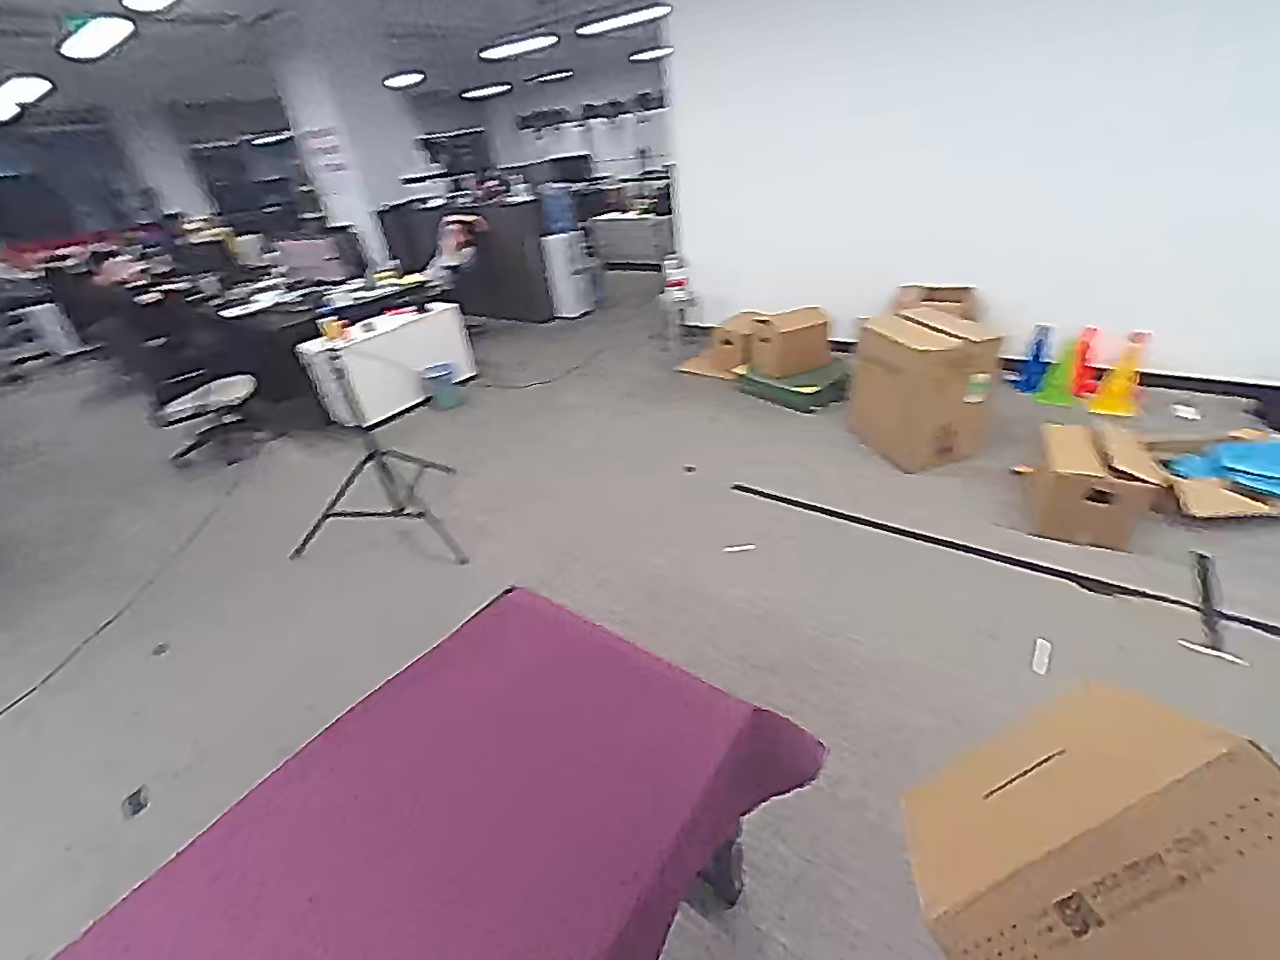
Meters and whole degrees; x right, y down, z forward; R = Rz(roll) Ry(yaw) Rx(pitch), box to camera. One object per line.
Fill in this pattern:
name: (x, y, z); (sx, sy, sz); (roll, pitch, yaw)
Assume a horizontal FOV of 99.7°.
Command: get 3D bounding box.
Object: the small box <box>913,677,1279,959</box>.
small box: (0.272, 0.229, 0.283); (0.168, 0.179, 0.176); (-38, 69, 11)
